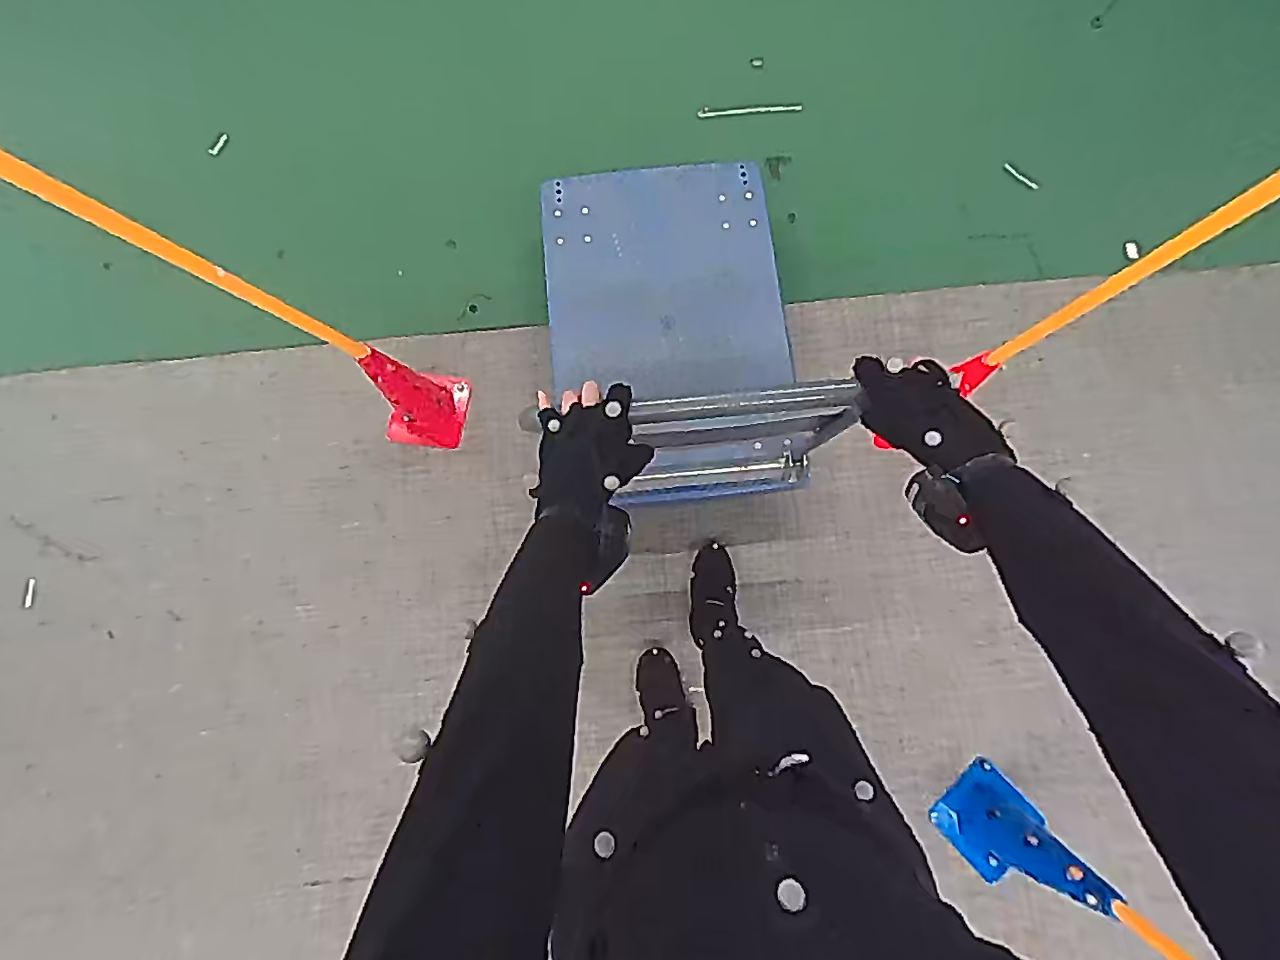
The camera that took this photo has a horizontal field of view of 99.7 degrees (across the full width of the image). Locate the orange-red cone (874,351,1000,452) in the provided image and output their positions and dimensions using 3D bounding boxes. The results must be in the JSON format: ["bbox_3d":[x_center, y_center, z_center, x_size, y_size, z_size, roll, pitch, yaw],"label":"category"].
[{"bbox_3d":[0.718,-0.208,1.268,0.198,0.360,0.199,6,79,3],"label":"orange-red cone"}]
